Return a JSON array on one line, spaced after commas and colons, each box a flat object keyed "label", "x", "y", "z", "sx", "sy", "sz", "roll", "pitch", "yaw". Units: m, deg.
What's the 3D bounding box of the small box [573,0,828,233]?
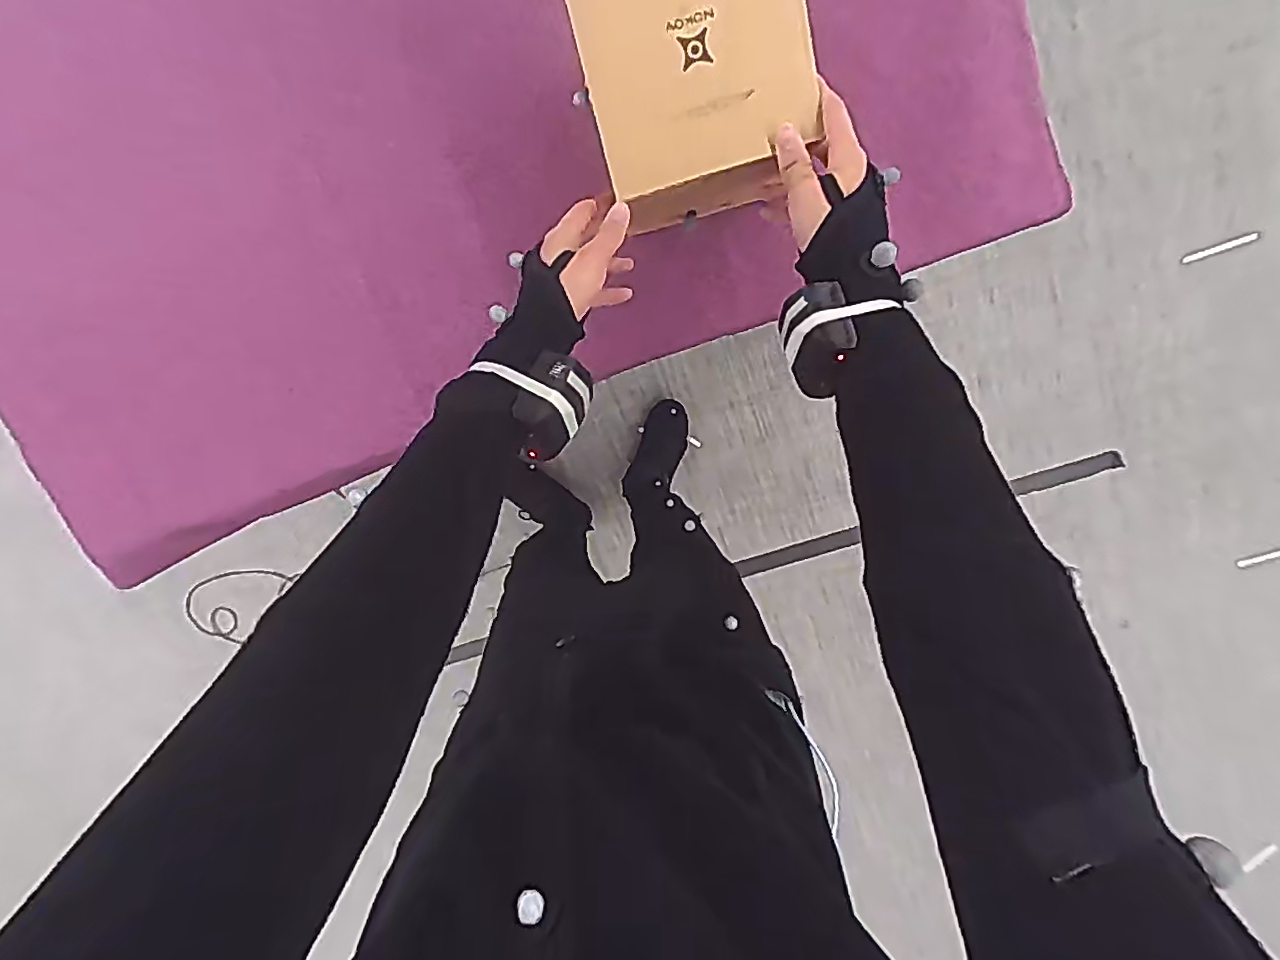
[{"label": "small box", "x": 0.044, "y": -0.335, "z": 0.462, "sx": 0.168, "sy": 0.176, "sz": 0.179, "roll": -13, "pitch": 104, "yaw": 6}]
